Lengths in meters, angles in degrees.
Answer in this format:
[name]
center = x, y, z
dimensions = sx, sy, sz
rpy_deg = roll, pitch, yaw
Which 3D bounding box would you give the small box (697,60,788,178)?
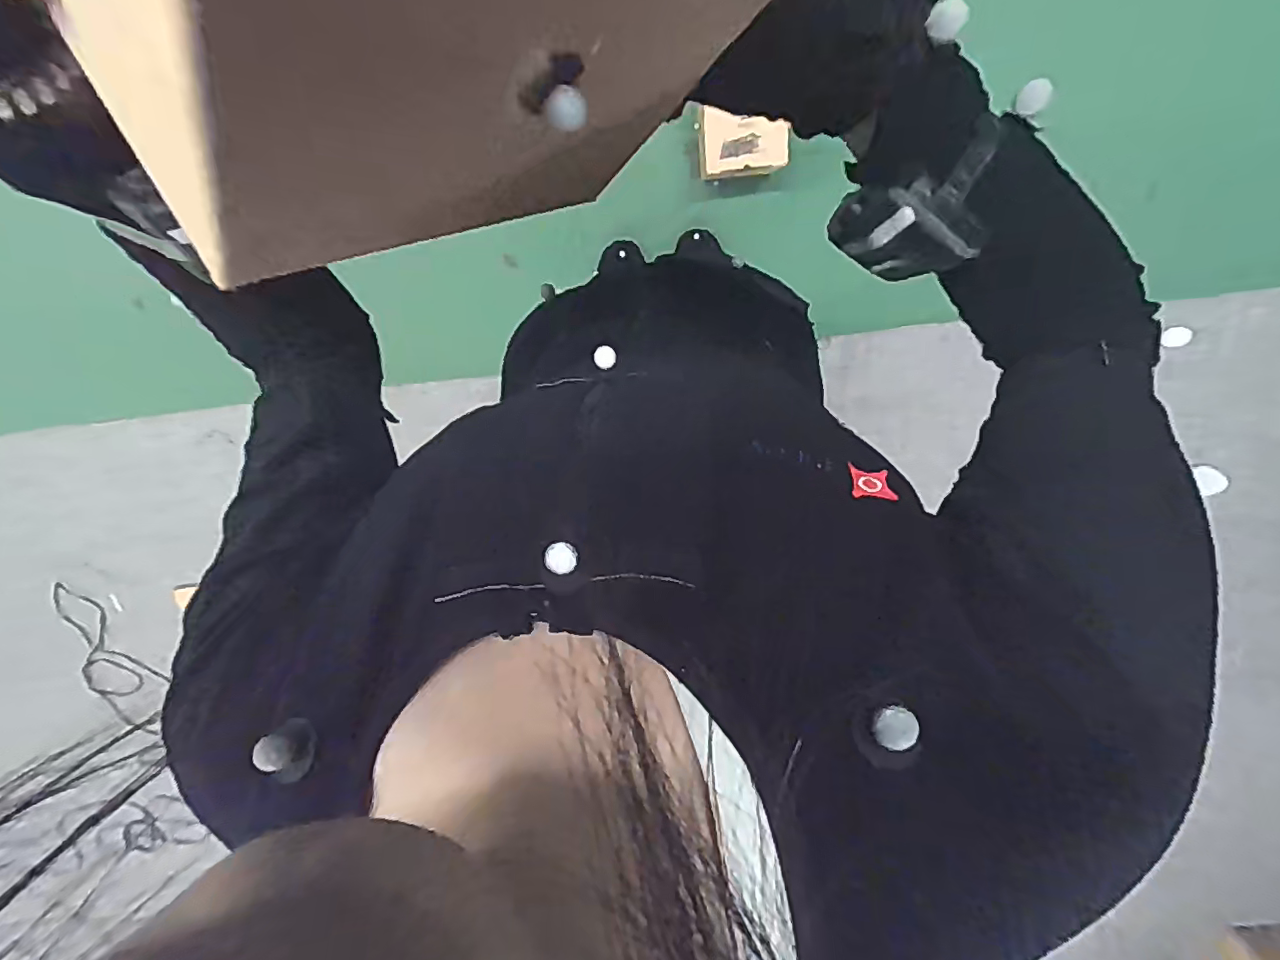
[small box]
center = 0.210, -0.739, 1.128
dimensions = 0.168, 0.176, 0.179
rpy_deg = -5, 114, 4
